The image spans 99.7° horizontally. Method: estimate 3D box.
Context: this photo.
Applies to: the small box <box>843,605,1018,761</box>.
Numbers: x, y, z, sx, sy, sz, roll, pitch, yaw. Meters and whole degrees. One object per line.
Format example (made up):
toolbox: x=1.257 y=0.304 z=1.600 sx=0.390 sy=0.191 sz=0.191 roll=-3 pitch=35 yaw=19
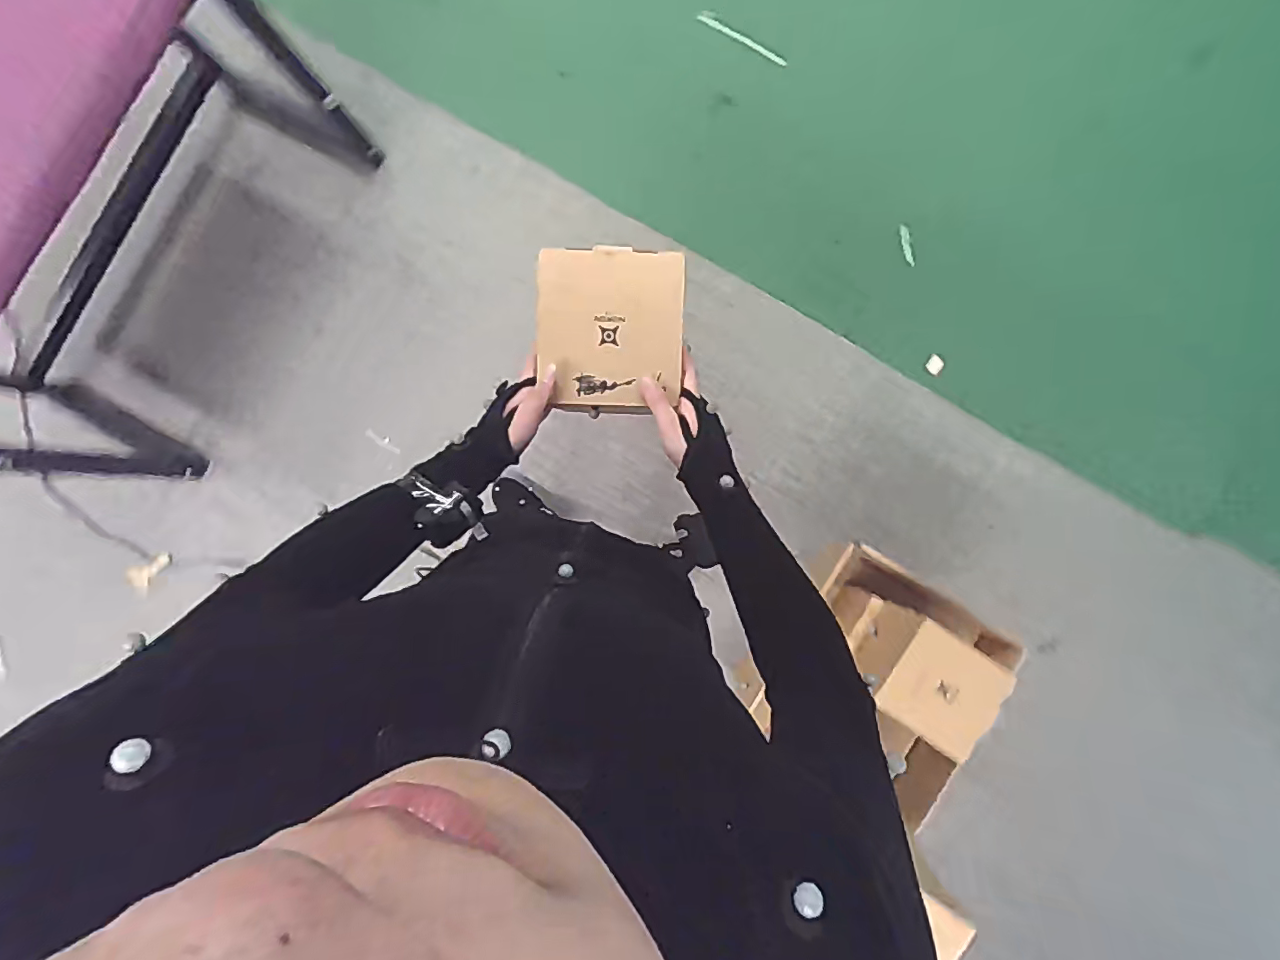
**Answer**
small box: x=0.493 y=0.339 z=0.945 sx=0.179 sy=0.176 sz=0.168 roll=34 pitch=88 yaw=3
